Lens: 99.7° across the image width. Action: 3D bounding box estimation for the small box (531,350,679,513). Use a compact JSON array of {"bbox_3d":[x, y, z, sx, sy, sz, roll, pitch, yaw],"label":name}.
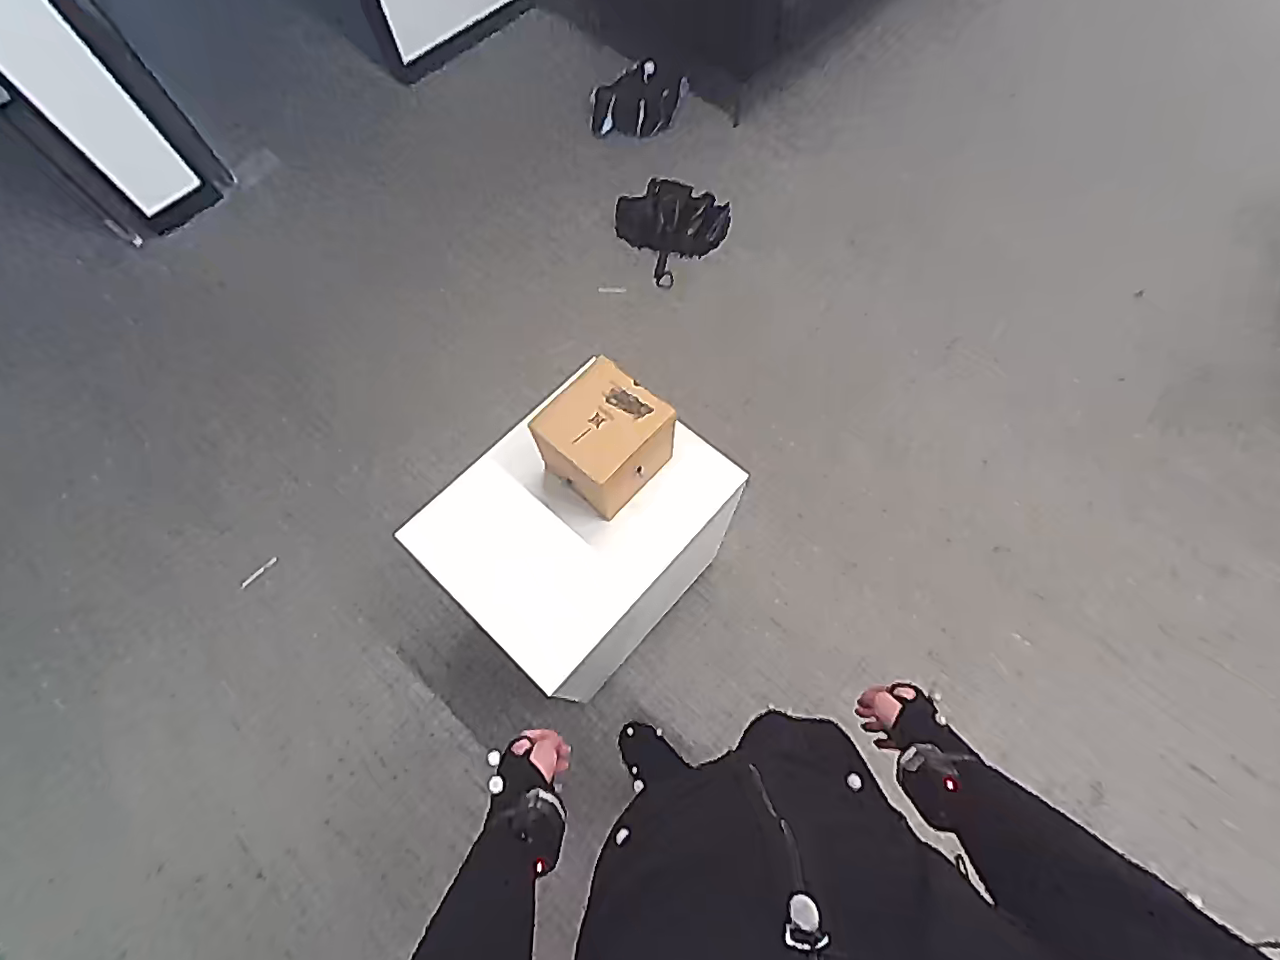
[{"bbox_3d":[-0.057,-0.075,0.913,0.168,0.176,0.179,41,72,16],"label":"small box"}]
